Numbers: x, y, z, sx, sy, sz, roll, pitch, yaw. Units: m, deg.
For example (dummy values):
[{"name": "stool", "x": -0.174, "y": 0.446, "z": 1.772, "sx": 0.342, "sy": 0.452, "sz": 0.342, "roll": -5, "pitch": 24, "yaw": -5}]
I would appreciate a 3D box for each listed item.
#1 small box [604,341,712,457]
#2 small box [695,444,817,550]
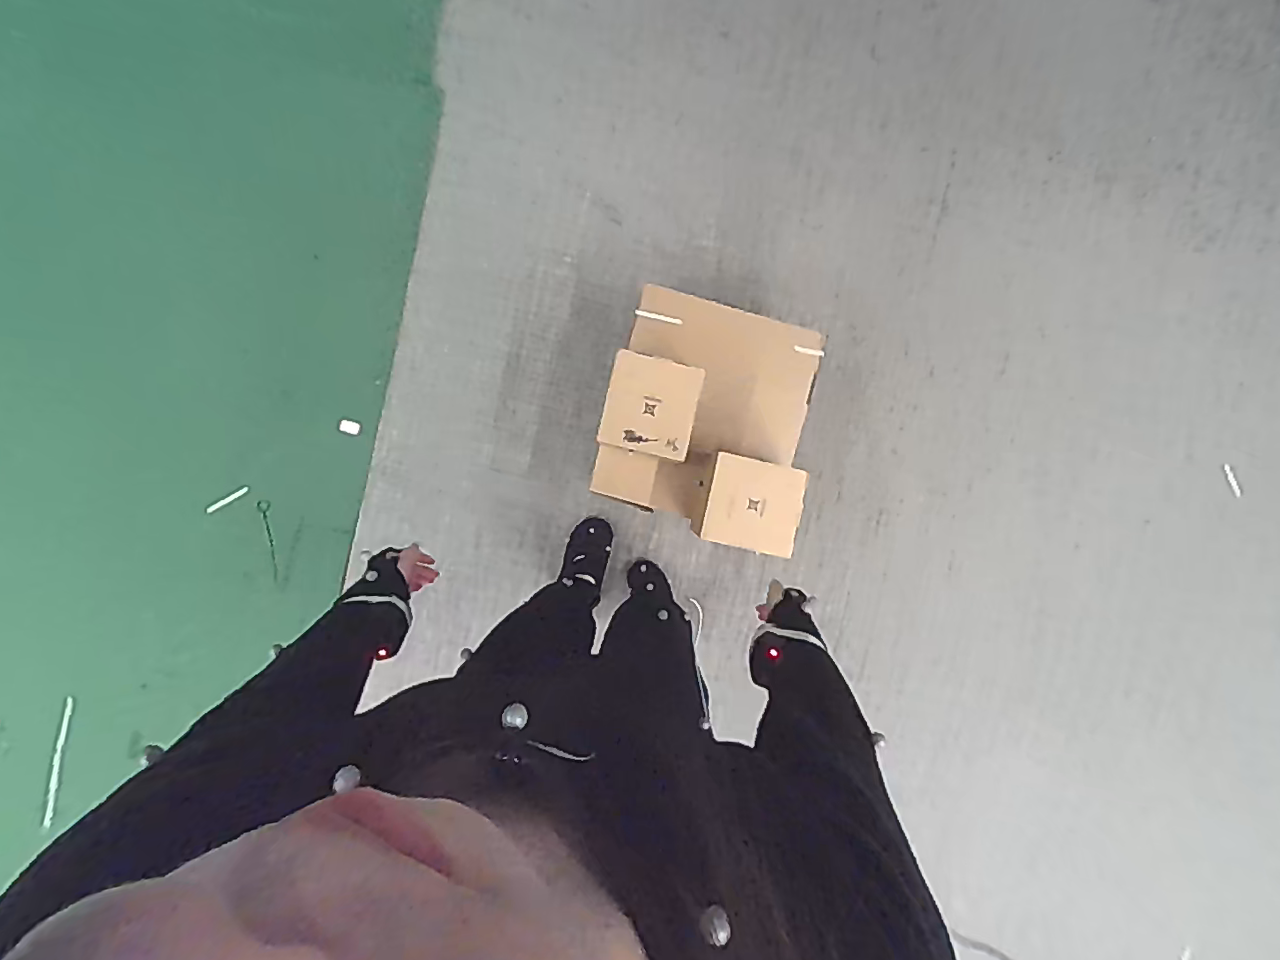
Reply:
[{"name": "small box", "x": 0.030, "y": -0.149, "z": 1.052, "sx": 0.168, "sy": 0.176, "sz": 0.179, "roll": 14, "pitch": 91, "yaw": -1}, {"name": "small box", "x": 0.218, "y": 0.028, "z": 1.063, "sx": 0.179, "sy": 0.176, "sz": 0.168, "roll": 13, "pitch": 91, "yaw": -2}]
